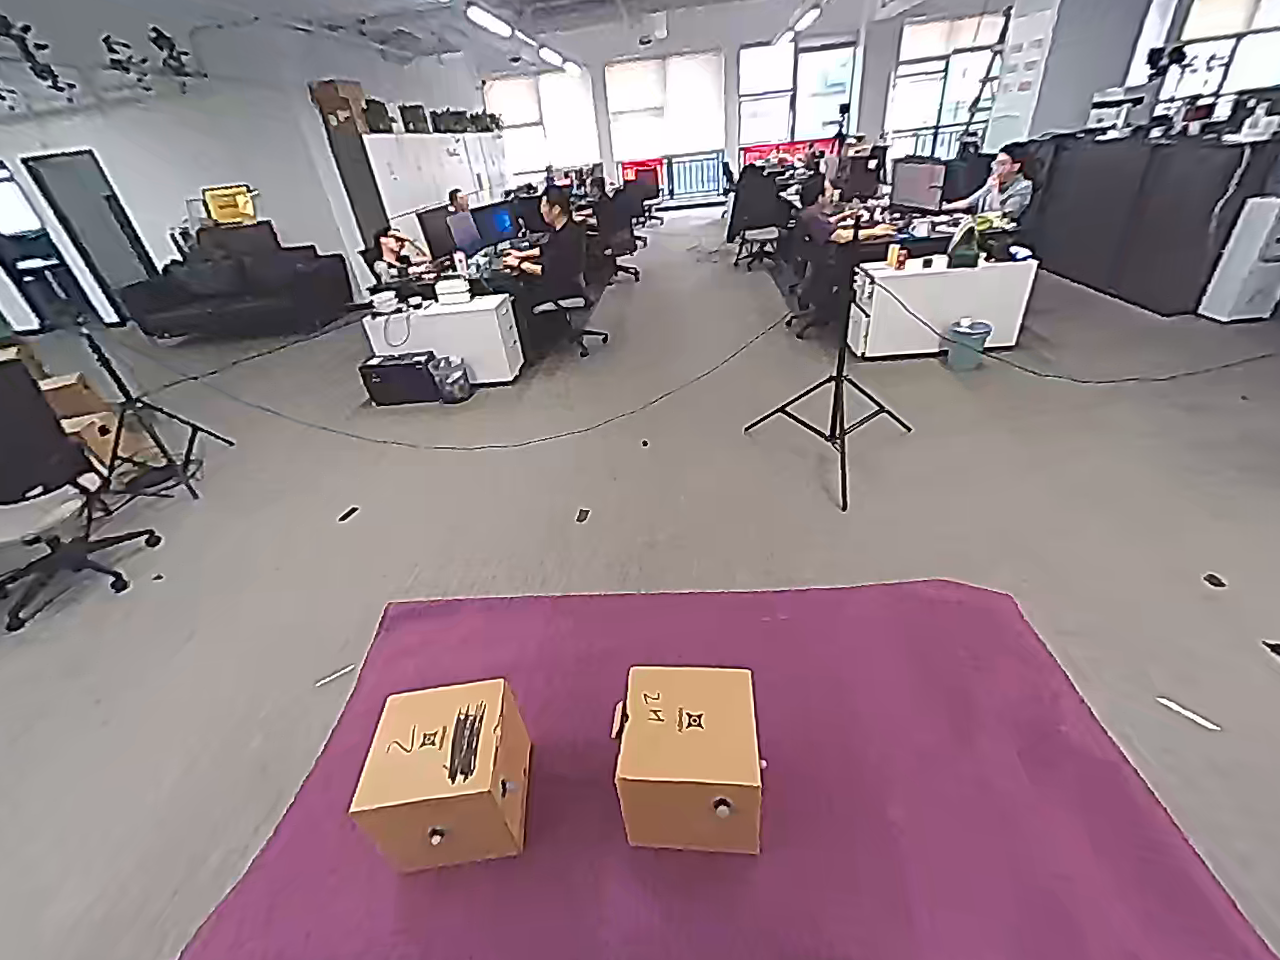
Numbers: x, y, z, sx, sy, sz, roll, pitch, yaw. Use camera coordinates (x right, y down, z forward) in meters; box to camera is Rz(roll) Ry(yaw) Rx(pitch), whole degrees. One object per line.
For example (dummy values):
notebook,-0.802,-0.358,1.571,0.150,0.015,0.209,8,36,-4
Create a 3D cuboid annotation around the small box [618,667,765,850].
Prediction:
small box,0.075,0.383,0.749,0.179,0.176,0.168,-2,32,8
